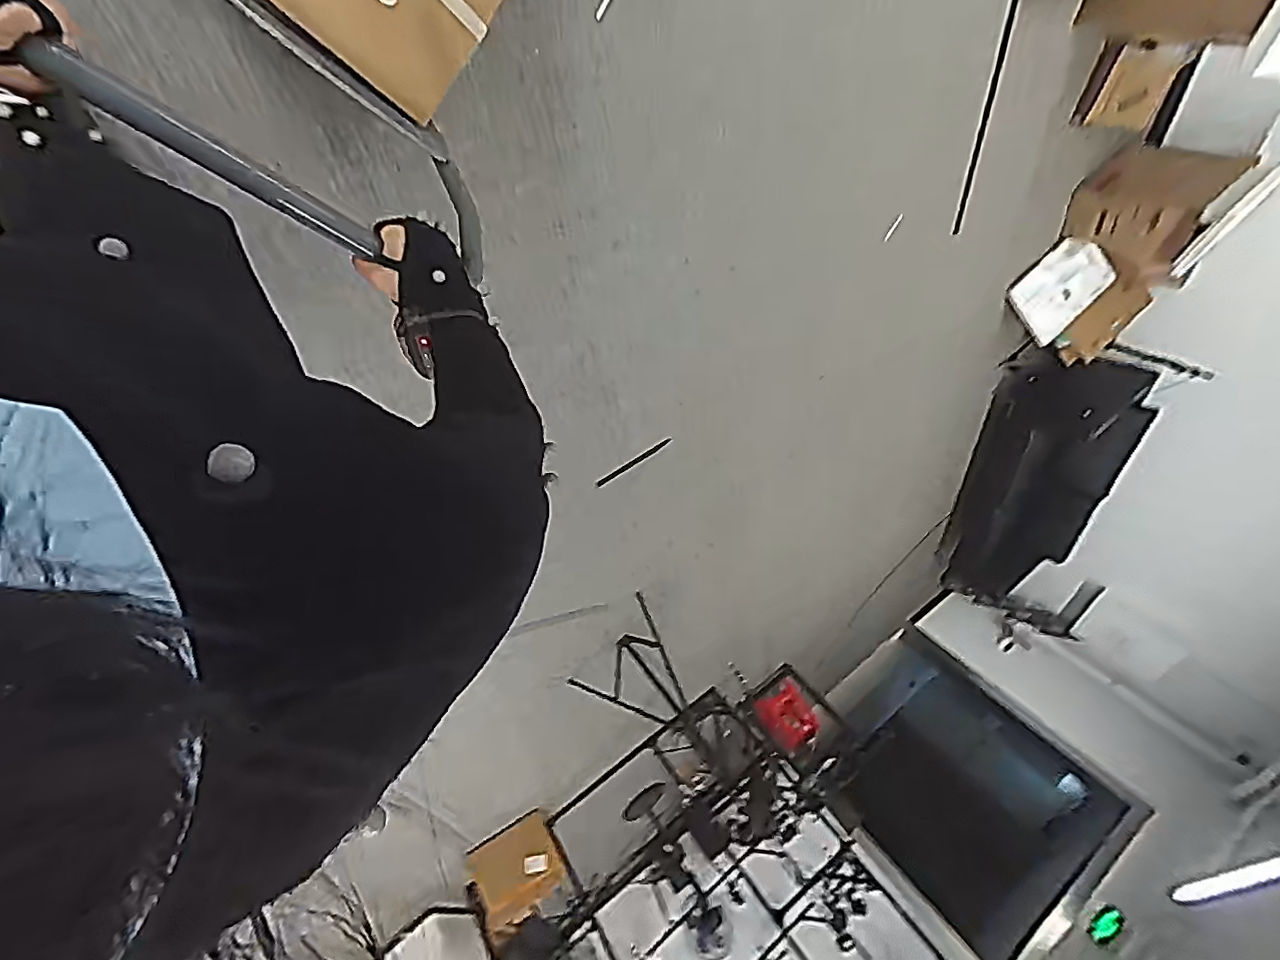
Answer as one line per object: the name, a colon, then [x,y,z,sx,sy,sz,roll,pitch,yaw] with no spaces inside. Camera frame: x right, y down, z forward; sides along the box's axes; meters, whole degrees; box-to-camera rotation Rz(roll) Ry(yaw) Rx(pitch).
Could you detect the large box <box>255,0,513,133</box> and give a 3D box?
large box: [-0.409,-0.777,0.710,0.320,0.320,0.408,-45,144,17]
